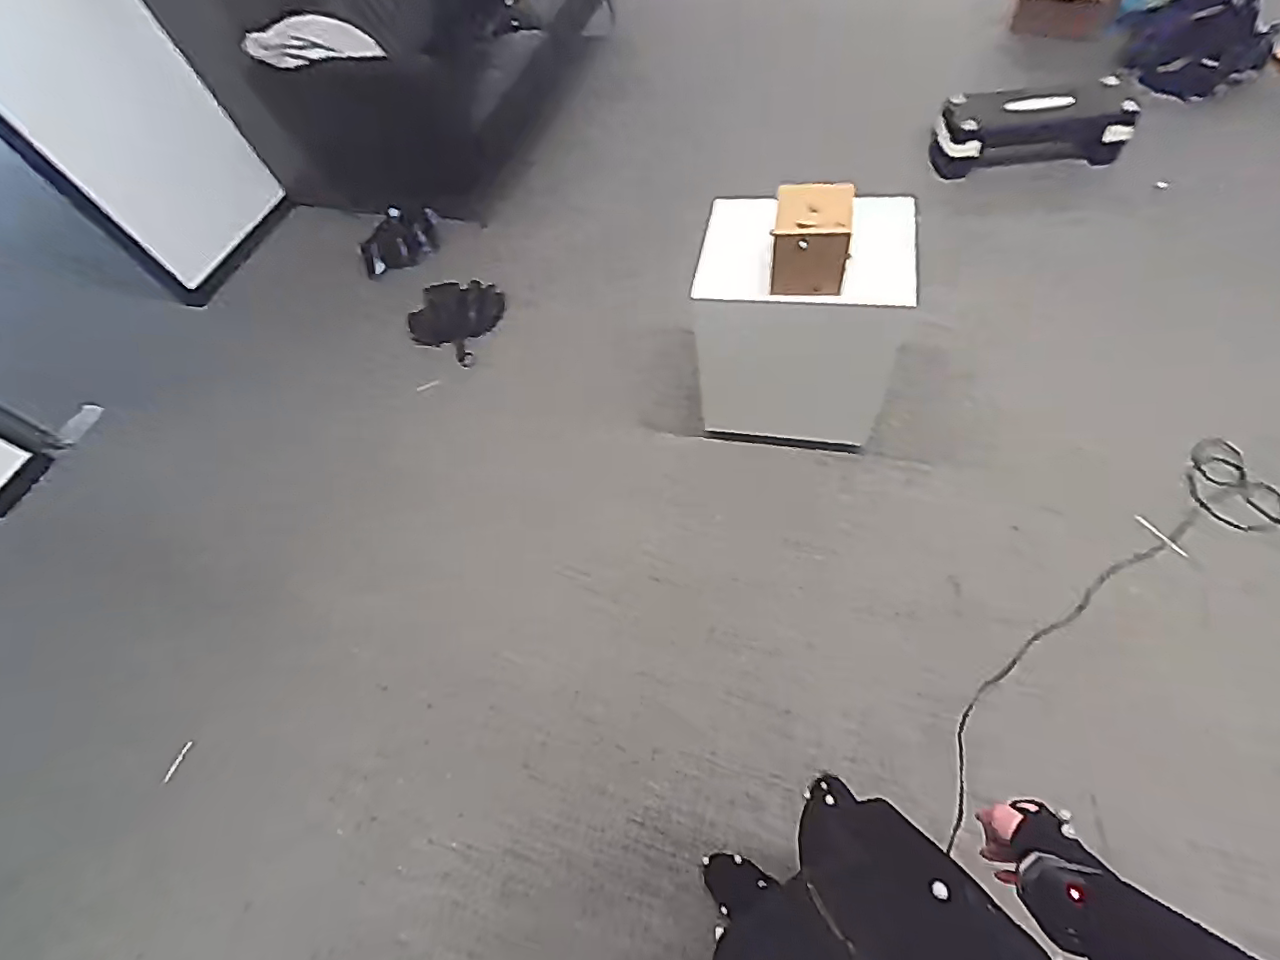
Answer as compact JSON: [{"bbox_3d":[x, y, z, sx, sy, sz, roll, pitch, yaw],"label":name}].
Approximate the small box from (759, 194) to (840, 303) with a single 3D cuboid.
[{"bbox_3d":[0.366,-0.535,1.256,0.168,0.176,0.179,4,58,13],"label":"small box"}]
